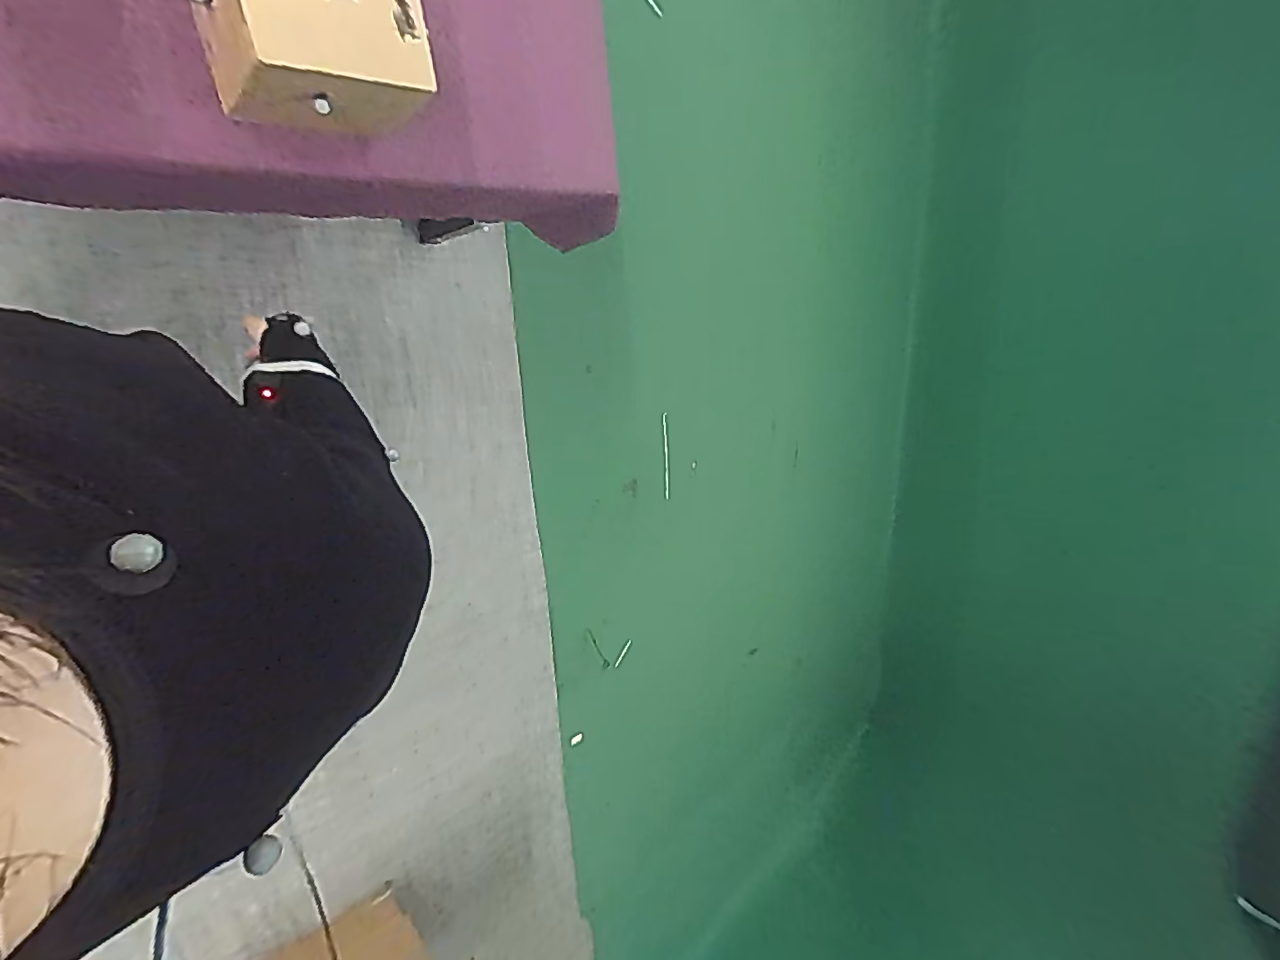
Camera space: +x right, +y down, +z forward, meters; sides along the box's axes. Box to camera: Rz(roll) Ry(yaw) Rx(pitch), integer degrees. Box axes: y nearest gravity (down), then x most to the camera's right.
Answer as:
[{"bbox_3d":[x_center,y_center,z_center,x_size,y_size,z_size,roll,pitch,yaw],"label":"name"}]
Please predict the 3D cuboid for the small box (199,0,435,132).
[{"bbox_3d":[-0.348,-0.489,0.568,0.179,0.176,0.168,-22,114,-39],"label":"small box"}]
